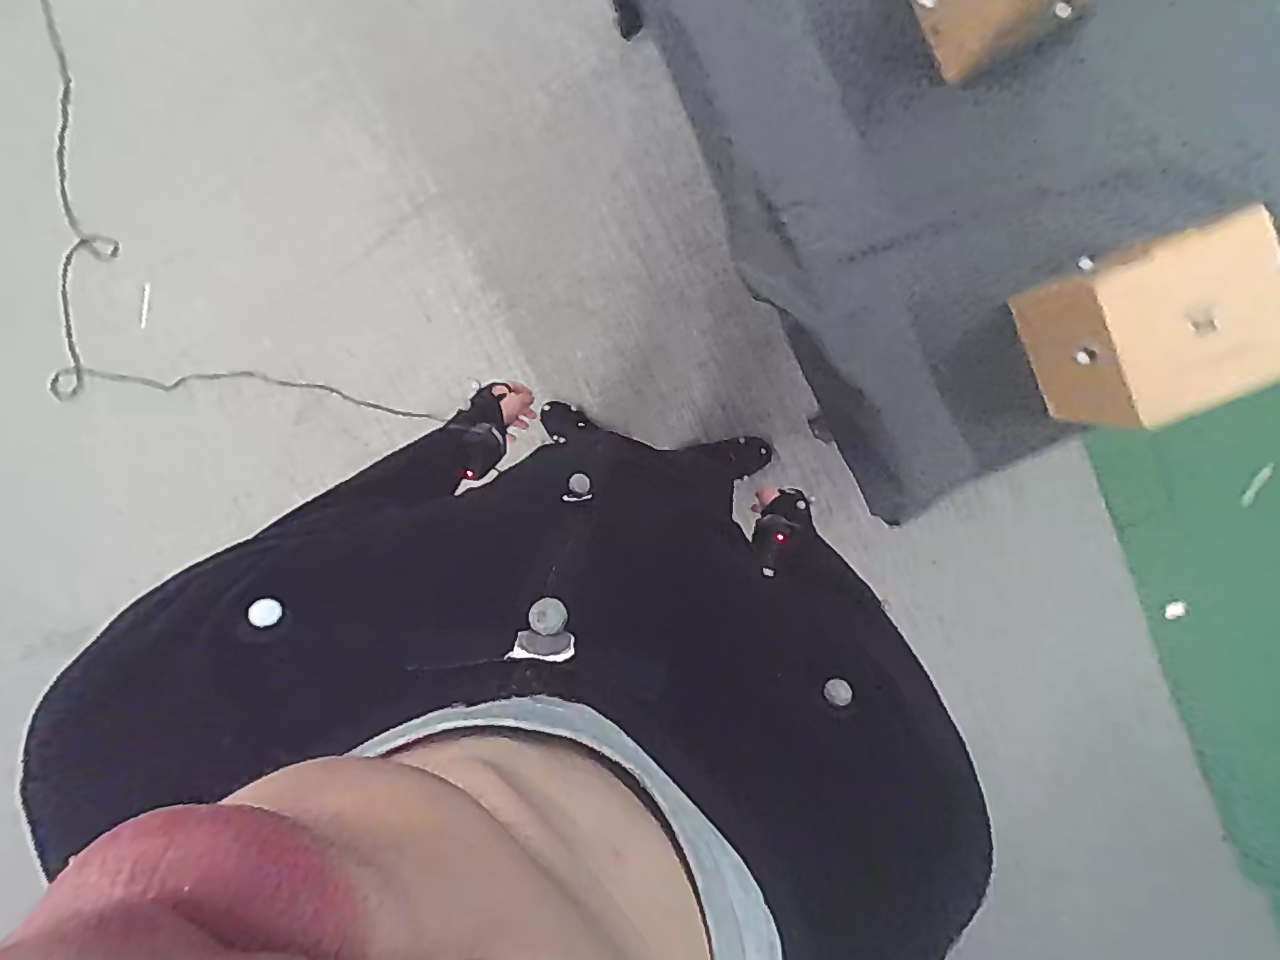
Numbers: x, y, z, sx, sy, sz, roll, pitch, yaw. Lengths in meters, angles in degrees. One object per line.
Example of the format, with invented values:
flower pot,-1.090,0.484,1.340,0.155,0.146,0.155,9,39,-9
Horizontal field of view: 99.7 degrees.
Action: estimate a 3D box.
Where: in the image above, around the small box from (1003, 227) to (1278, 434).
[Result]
small box,0.593,-0.173,0.667,0.168,0.176,0.179,-24,99,10
